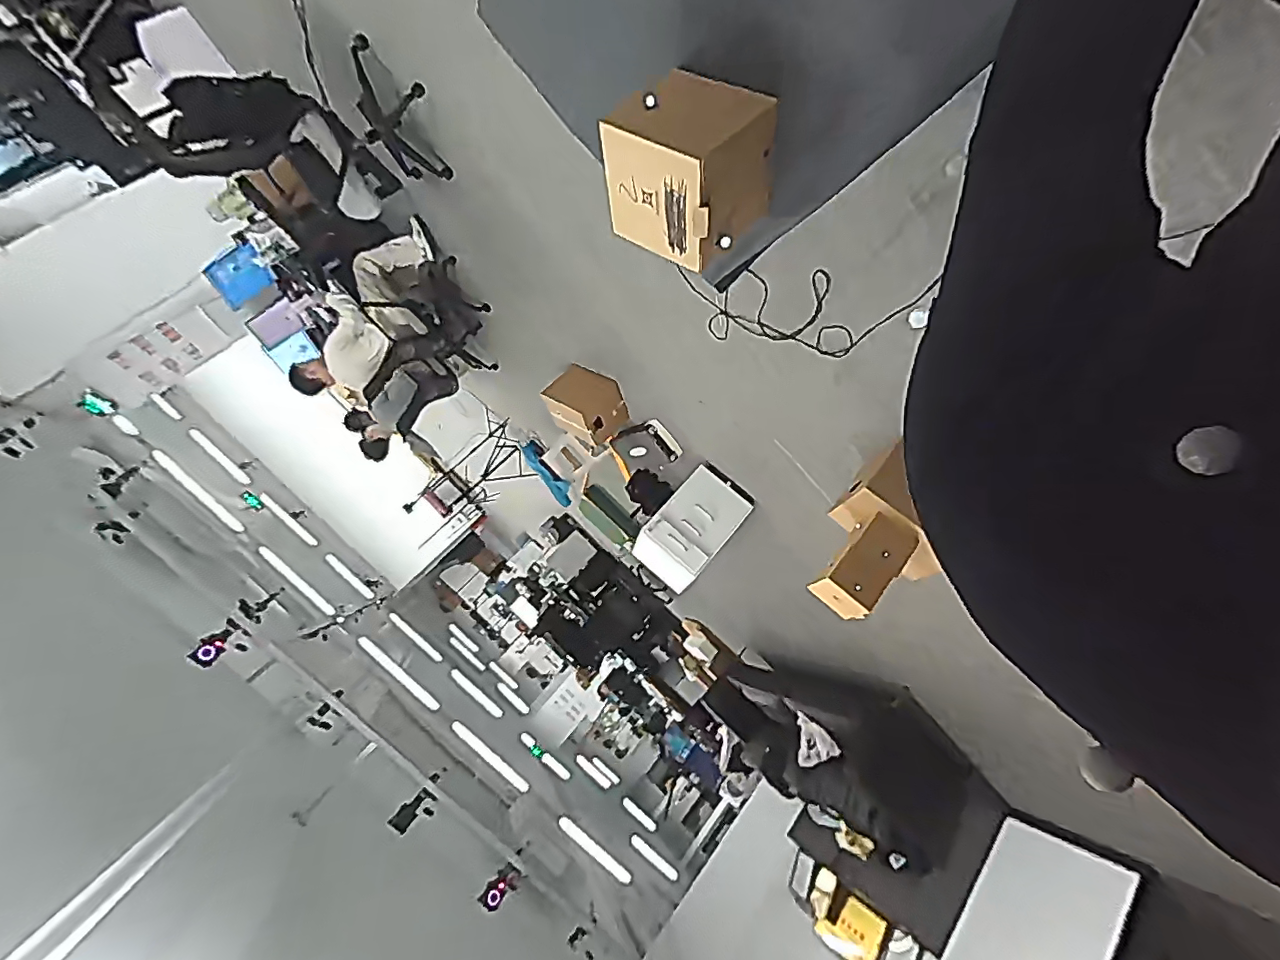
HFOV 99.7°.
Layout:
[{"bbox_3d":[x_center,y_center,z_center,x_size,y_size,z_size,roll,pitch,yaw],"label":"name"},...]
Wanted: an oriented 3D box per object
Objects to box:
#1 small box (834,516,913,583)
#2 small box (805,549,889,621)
[{"bbox_3d":[0.831,0.257,1.928,0.179,0.176,0.168,41,158,9],"label":"small box"},{"bbox_3d":[0.716,0.357,1.871,0.179,0.176,0.168,40,158,8],"label":"small box"}]
